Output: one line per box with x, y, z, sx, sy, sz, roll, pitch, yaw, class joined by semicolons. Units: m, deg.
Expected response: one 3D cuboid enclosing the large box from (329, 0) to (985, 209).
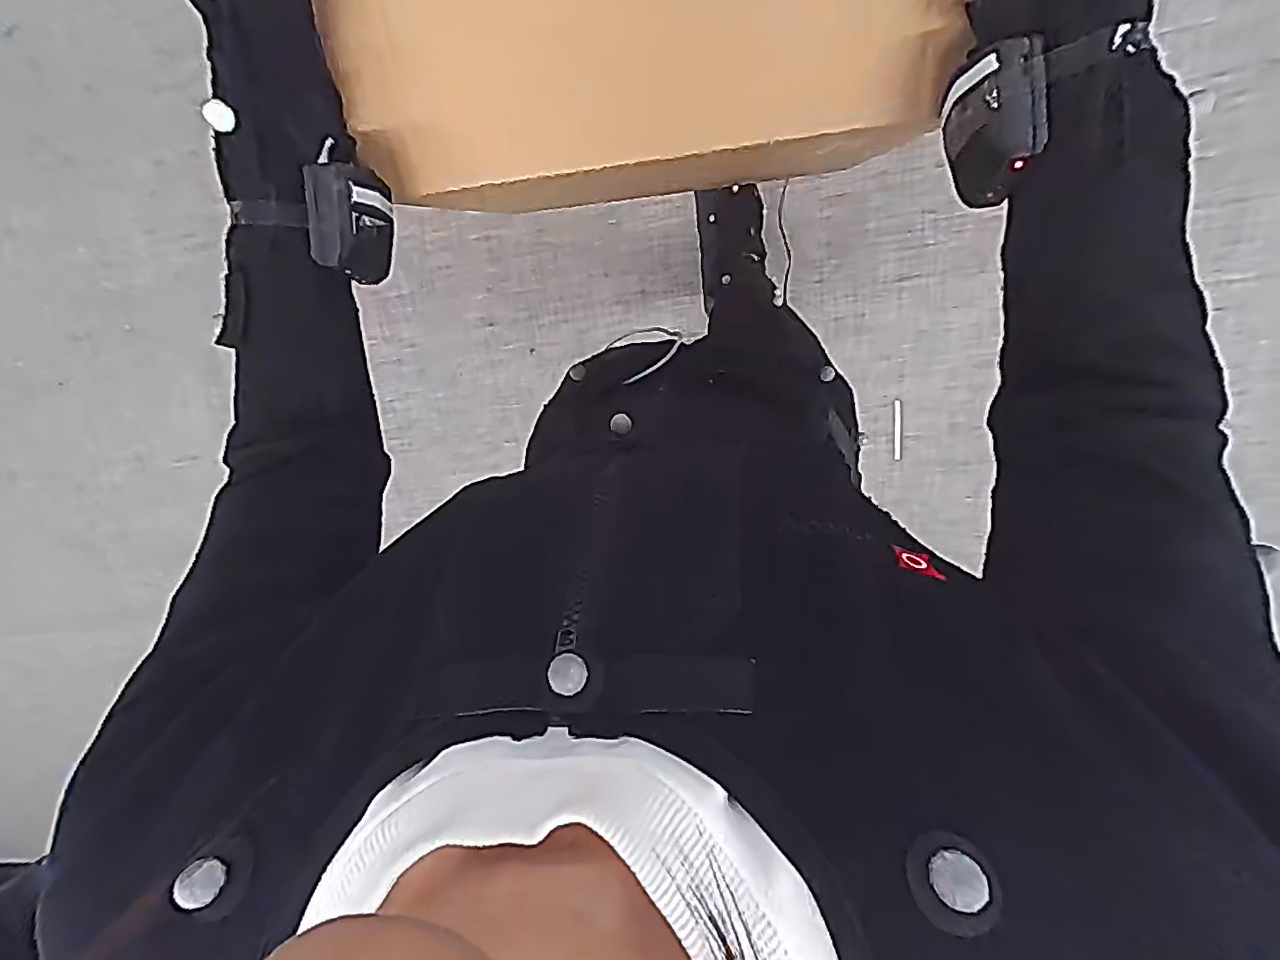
0.003;-0.424;0.435;0.408;0.320;0.320;-5;114;7;large box
